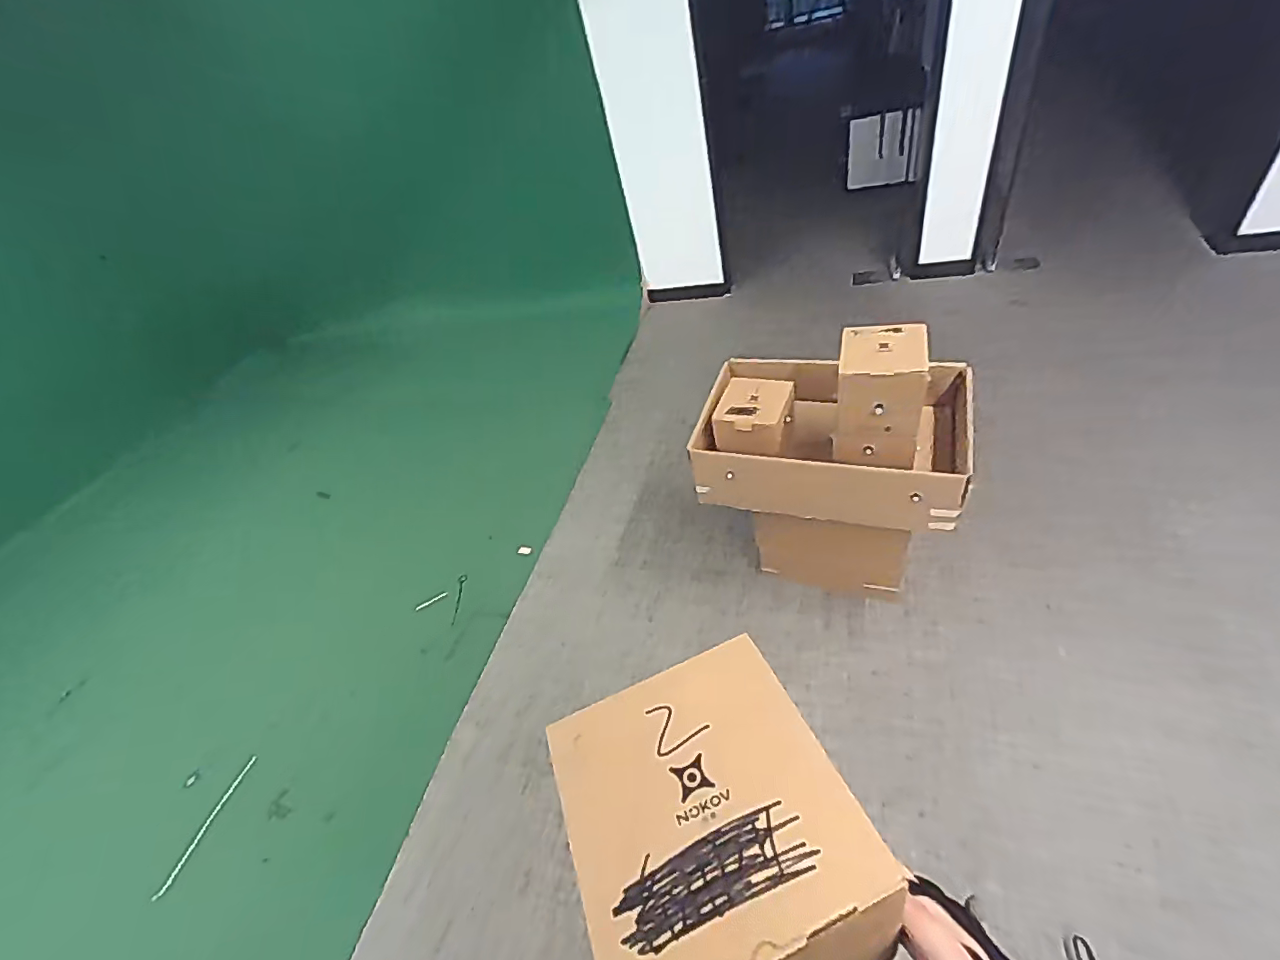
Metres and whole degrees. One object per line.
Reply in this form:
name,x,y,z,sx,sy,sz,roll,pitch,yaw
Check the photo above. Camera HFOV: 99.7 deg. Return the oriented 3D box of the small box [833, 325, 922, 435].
small box,0.516,-0.215,1.179,0.168,0.176,0.179,4,49,22
